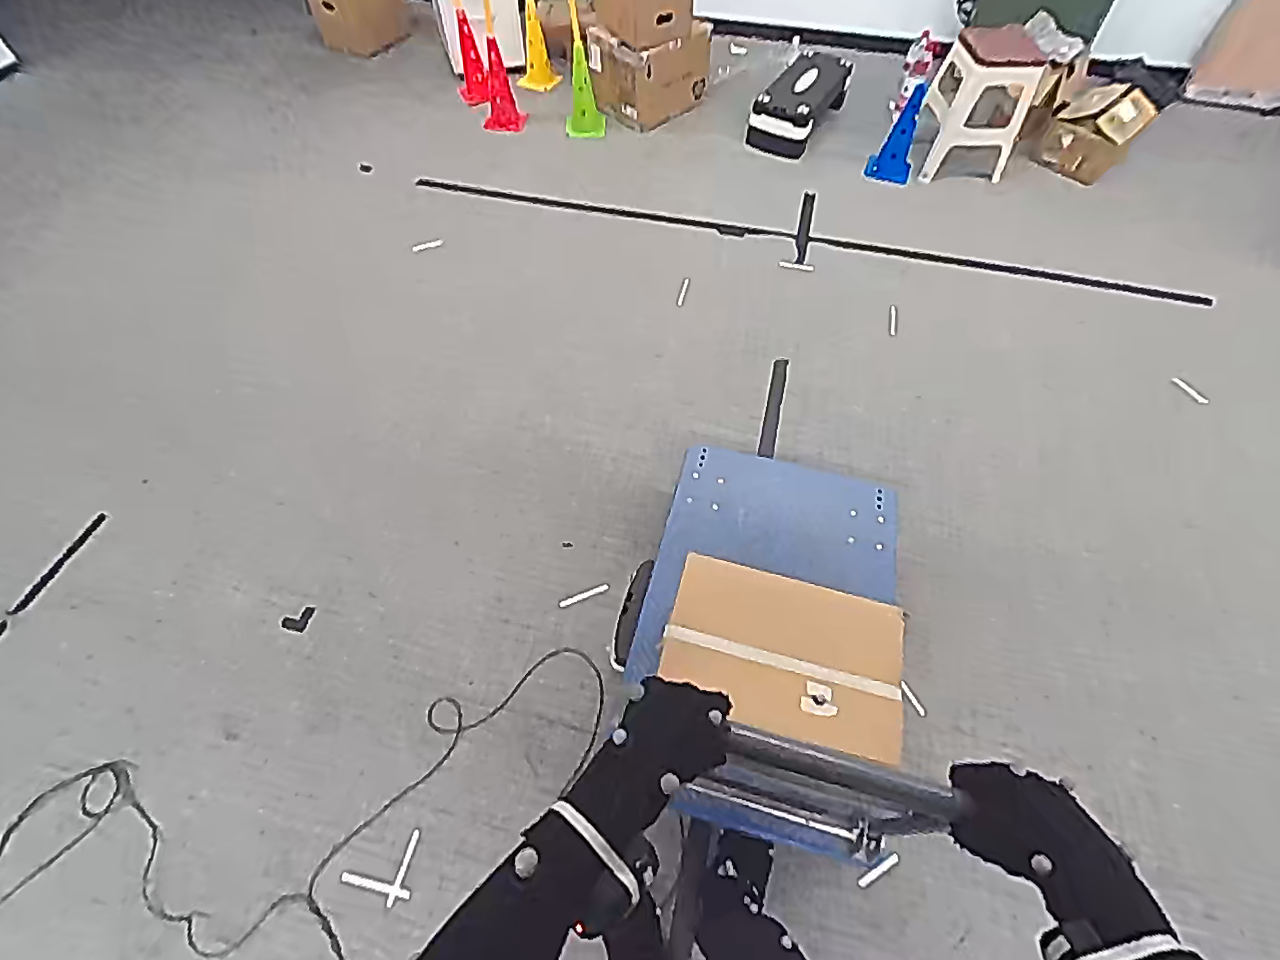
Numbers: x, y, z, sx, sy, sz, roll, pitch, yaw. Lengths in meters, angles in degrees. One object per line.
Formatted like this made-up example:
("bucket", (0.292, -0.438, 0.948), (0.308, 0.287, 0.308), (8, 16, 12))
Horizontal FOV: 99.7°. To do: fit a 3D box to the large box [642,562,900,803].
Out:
("large box", (0.234, 0.398, 1.049), (0.408, 0.320, 0.320), (14, 60, 7))
